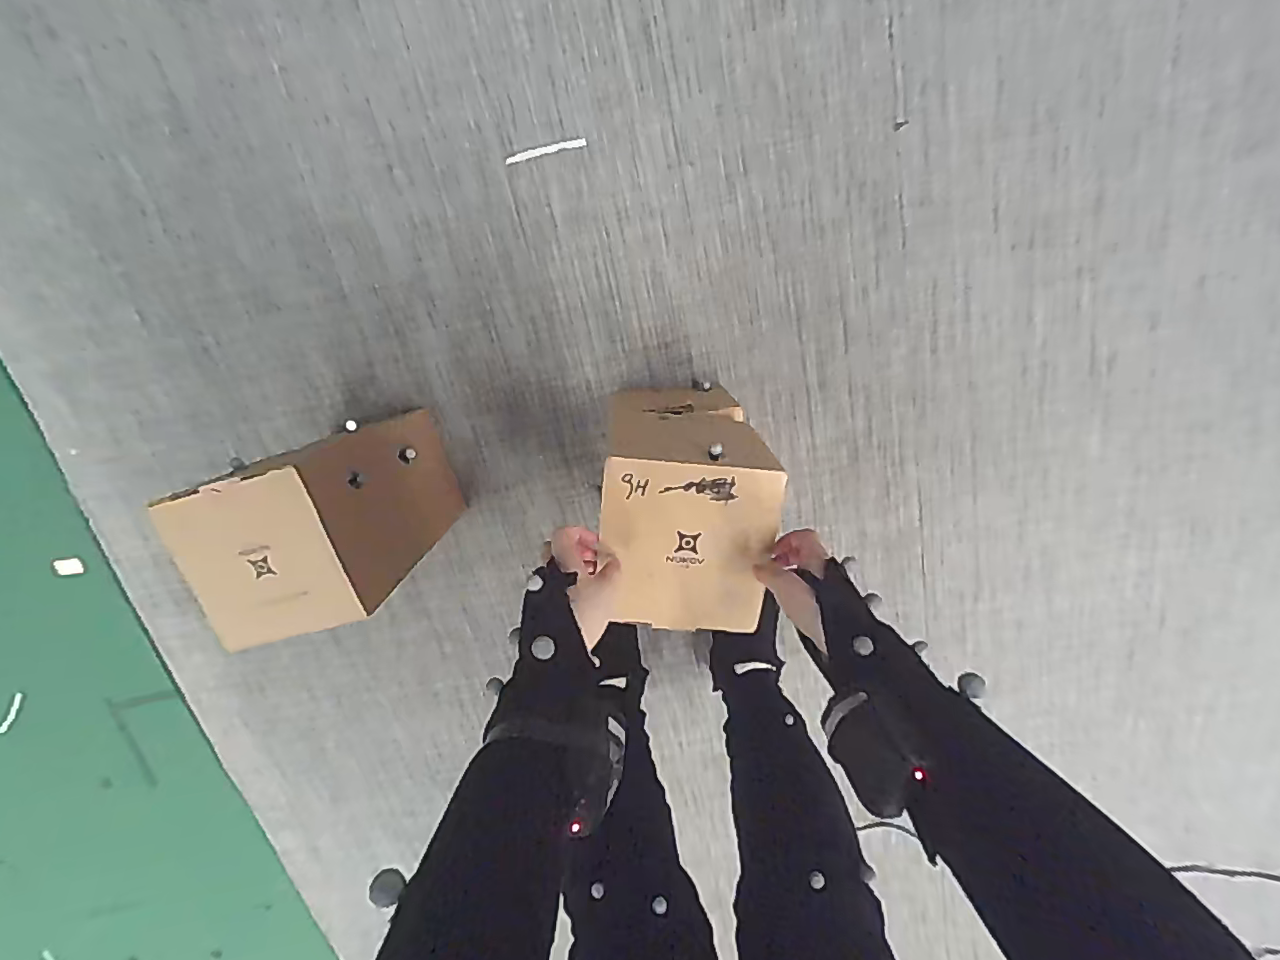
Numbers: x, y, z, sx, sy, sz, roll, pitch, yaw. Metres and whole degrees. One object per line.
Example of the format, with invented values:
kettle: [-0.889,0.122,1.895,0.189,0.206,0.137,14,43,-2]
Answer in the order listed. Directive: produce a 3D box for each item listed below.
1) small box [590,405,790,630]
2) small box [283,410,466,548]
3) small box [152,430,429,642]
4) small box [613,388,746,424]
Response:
small box: [0.042,0.031,0.576,0.168,0.176,0.179,6,111,-3]
small box: [-0.376,0.006,0.774,0.168,0.176,0.179,-15,107,6]
small box: [-0.374,0.050,0.618,0.168,0.176,0.179,-15,107,6]
small box: [0.050,-0.032,0.754,0.168,0.176,0.179,-2,108,2]
